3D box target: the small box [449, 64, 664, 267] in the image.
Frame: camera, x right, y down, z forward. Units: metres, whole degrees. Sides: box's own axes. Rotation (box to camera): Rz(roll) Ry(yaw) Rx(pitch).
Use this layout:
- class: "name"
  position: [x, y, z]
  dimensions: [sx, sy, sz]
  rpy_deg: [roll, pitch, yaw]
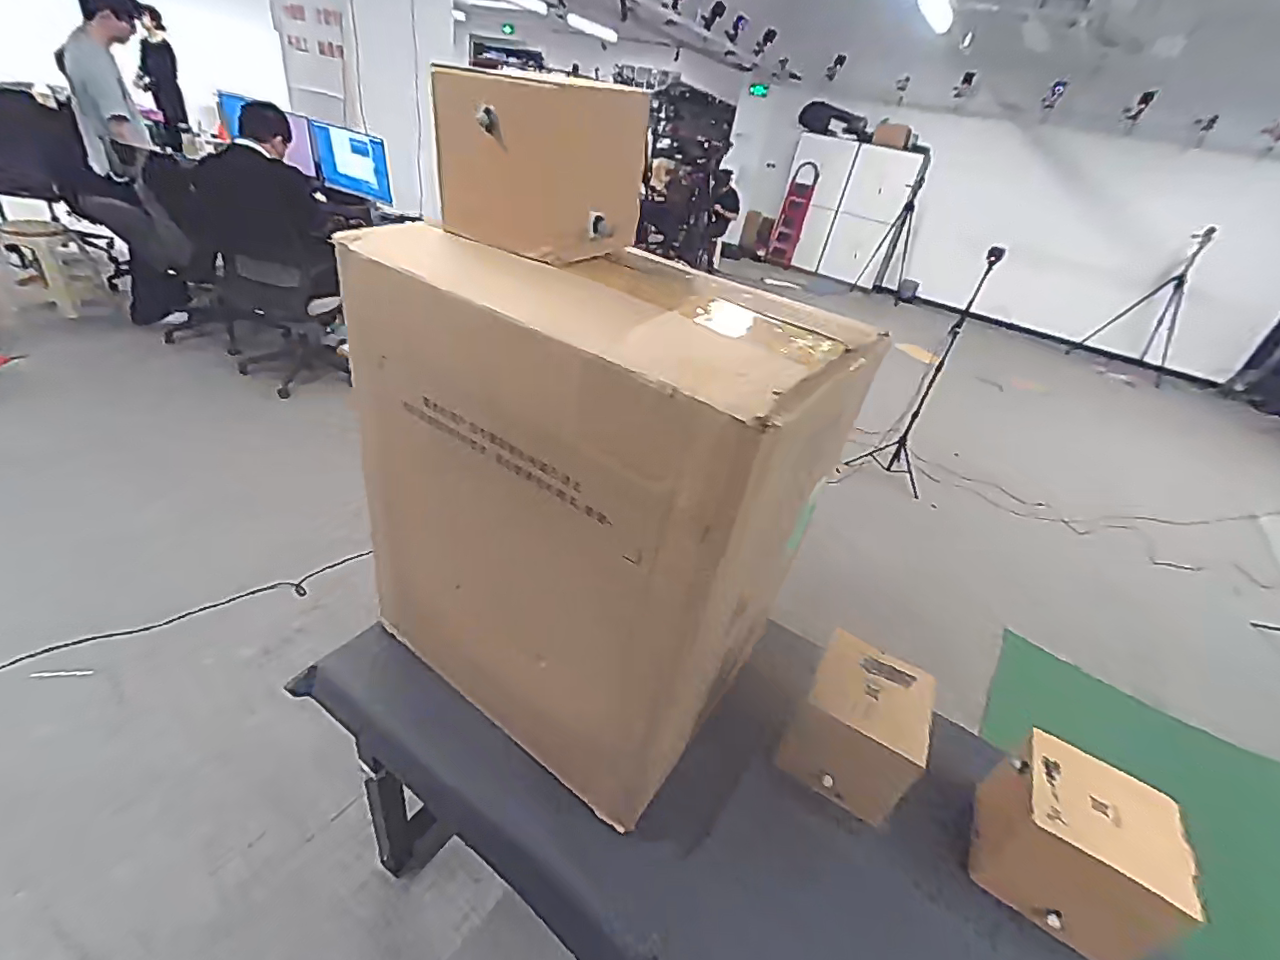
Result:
- class: "small box"
  position: [-0.097, -0.366, 0.635]
  dimensions: [0.179, 0.176, 0.168]
  rpy_deg: [26, 41, 19]

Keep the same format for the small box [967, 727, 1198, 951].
- class: "small box"
  position: [0.590, 0.493, 0.744]
  dimensions: [0.179, 0.176, 0.168]
  rpy_deg: [28, 36, 23]
